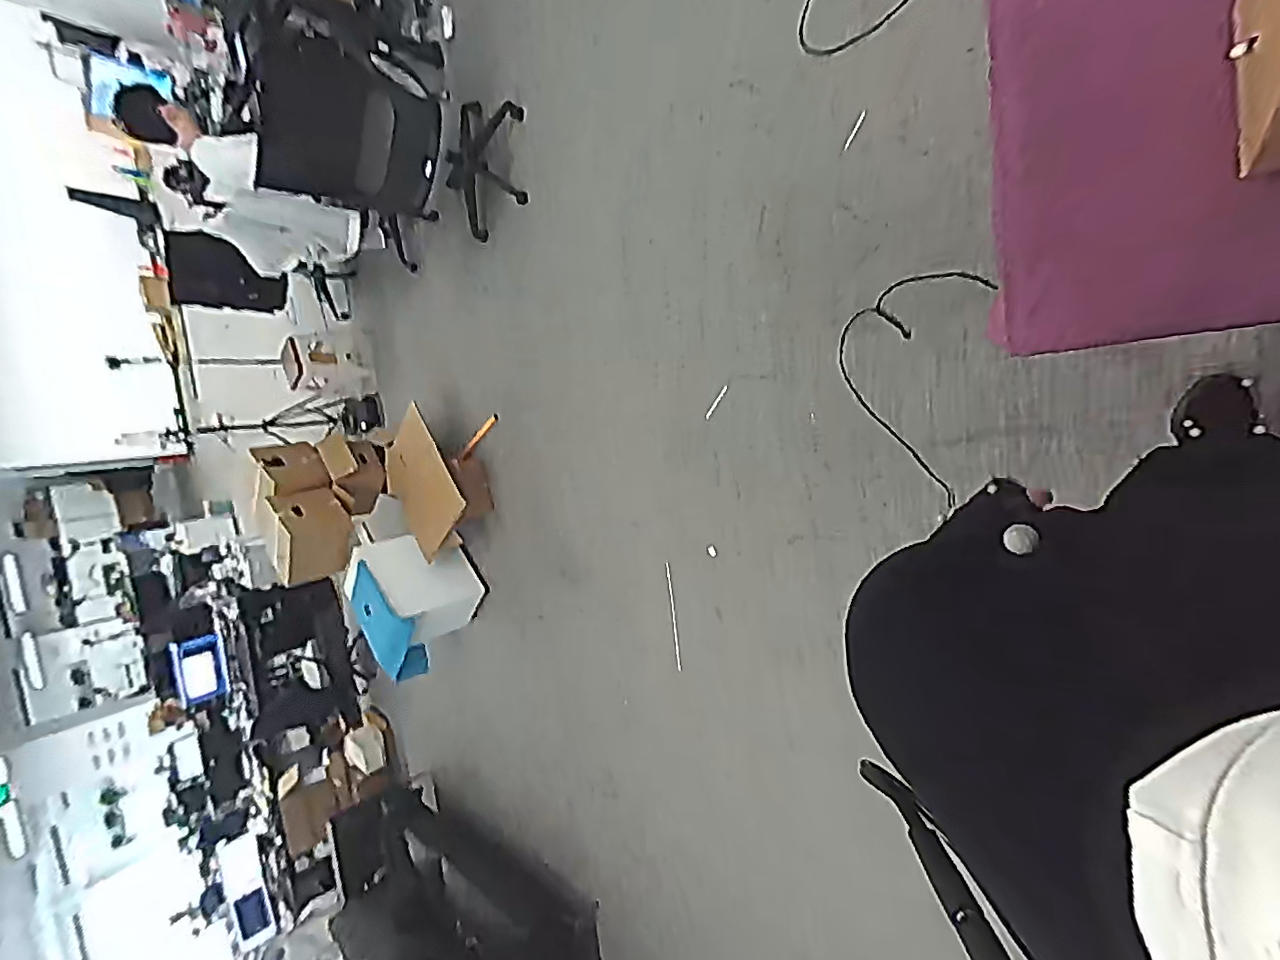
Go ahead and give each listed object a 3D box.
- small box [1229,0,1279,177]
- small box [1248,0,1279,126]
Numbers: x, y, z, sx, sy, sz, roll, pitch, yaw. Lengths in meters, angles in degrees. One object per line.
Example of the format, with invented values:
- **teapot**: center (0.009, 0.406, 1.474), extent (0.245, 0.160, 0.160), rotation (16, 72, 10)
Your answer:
- **small box**: center (0.638, -0.398, 0.465), extent (0.168, 0.176, 0.179), rotation (-3, 97, 43)
- **small box**: center (0.527, -0.364, 0.349), extent (0.168, 0.176, 0.179), rotation (-2, 96, 44)
